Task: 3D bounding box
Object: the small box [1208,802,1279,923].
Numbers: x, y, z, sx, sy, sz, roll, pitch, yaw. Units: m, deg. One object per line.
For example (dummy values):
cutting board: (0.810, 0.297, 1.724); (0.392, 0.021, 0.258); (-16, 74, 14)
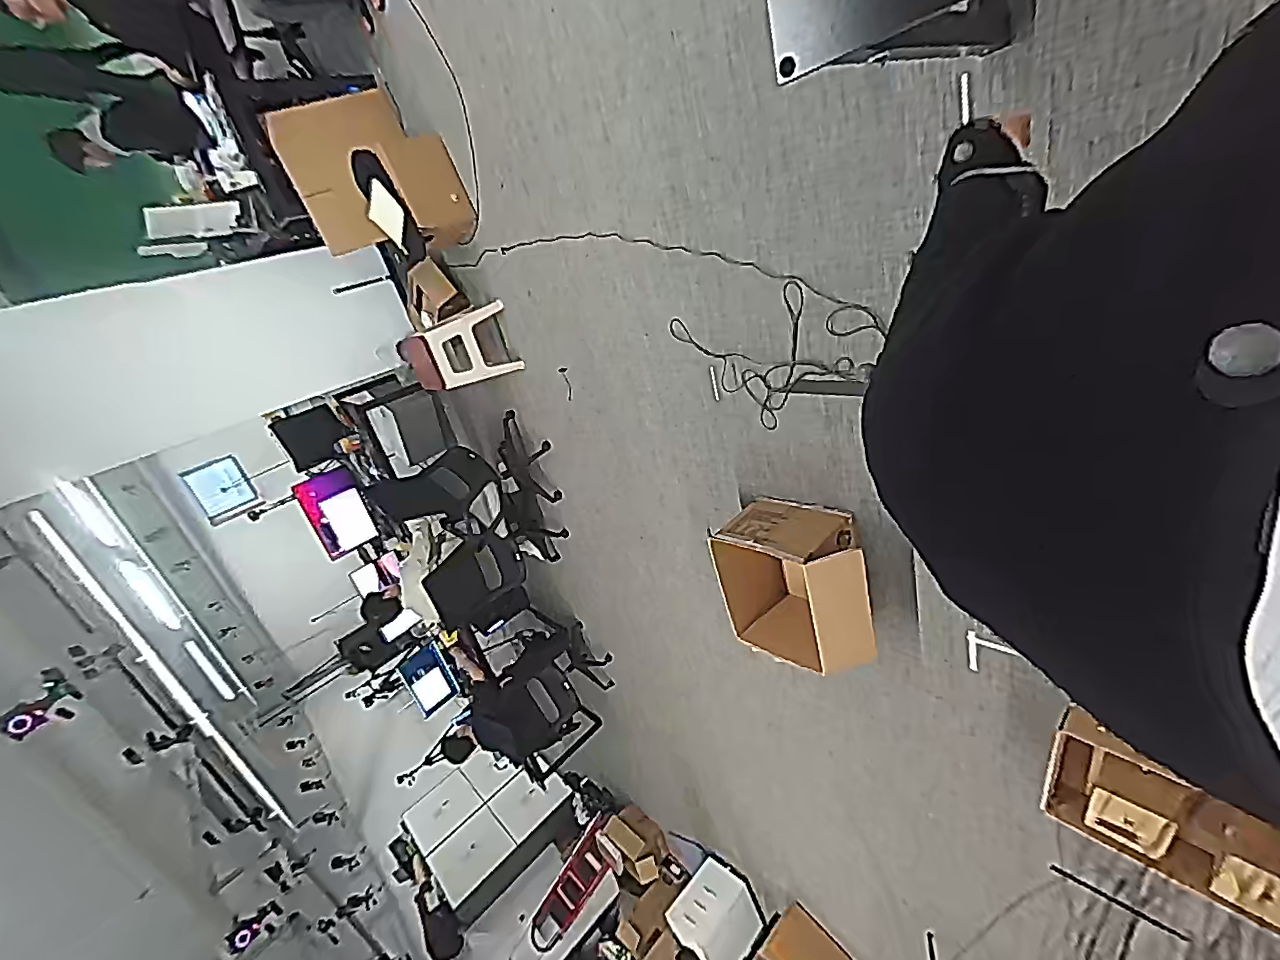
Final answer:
small box: (1.550, 0.945, 1.326); (0.179, 0.176, 0.168); (18, 128, 46)
